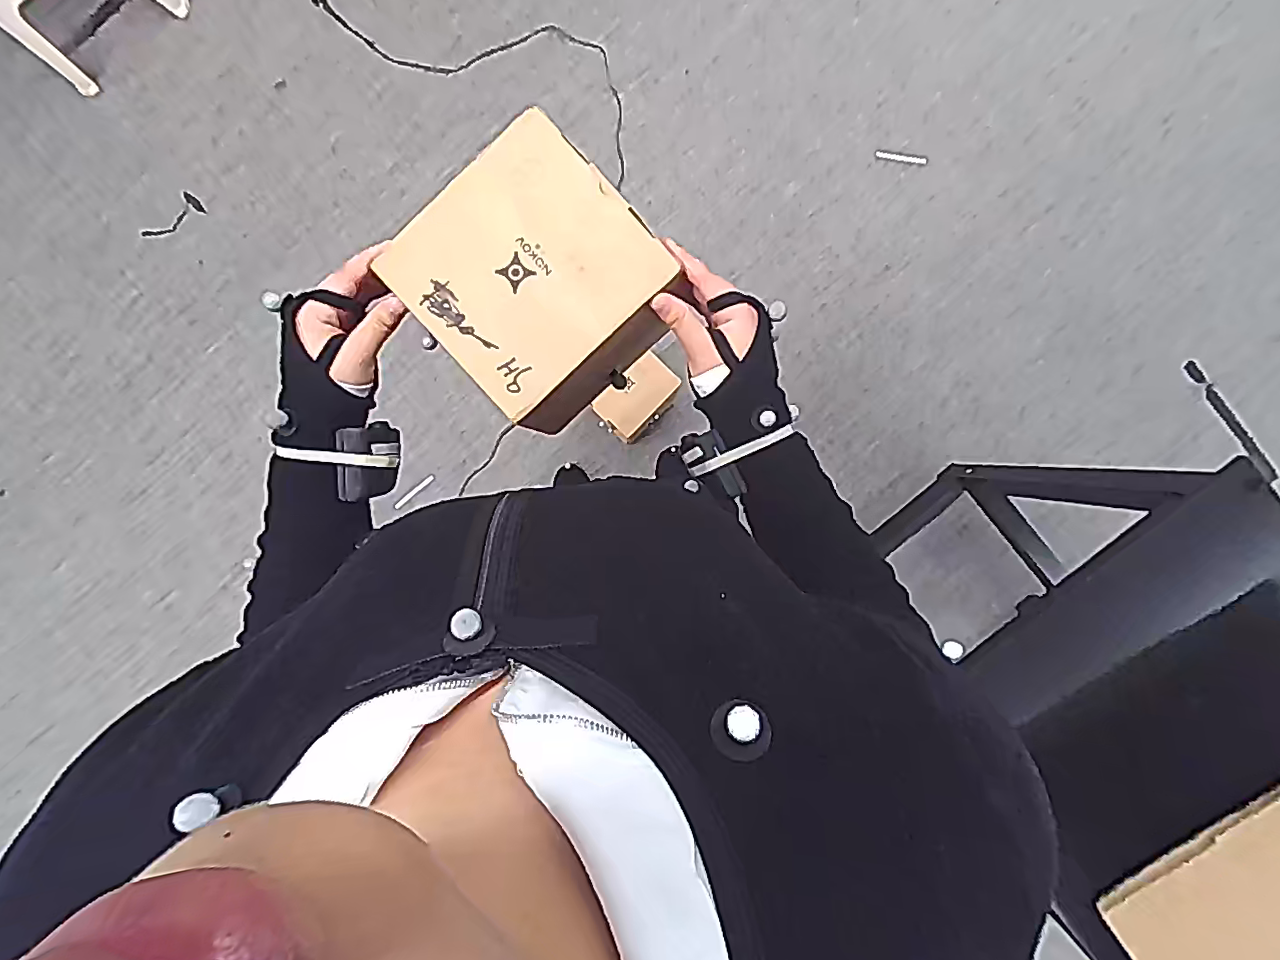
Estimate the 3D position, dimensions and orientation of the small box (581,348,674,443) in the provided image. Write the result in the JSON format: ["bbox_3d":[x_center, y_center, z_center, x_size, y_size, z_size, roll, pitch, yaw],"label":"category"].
[{"bbox_3d":[-0.033,-0.214,1.415,0.179,0.176,0.168,-43,91,3],"label":"small box"}]
